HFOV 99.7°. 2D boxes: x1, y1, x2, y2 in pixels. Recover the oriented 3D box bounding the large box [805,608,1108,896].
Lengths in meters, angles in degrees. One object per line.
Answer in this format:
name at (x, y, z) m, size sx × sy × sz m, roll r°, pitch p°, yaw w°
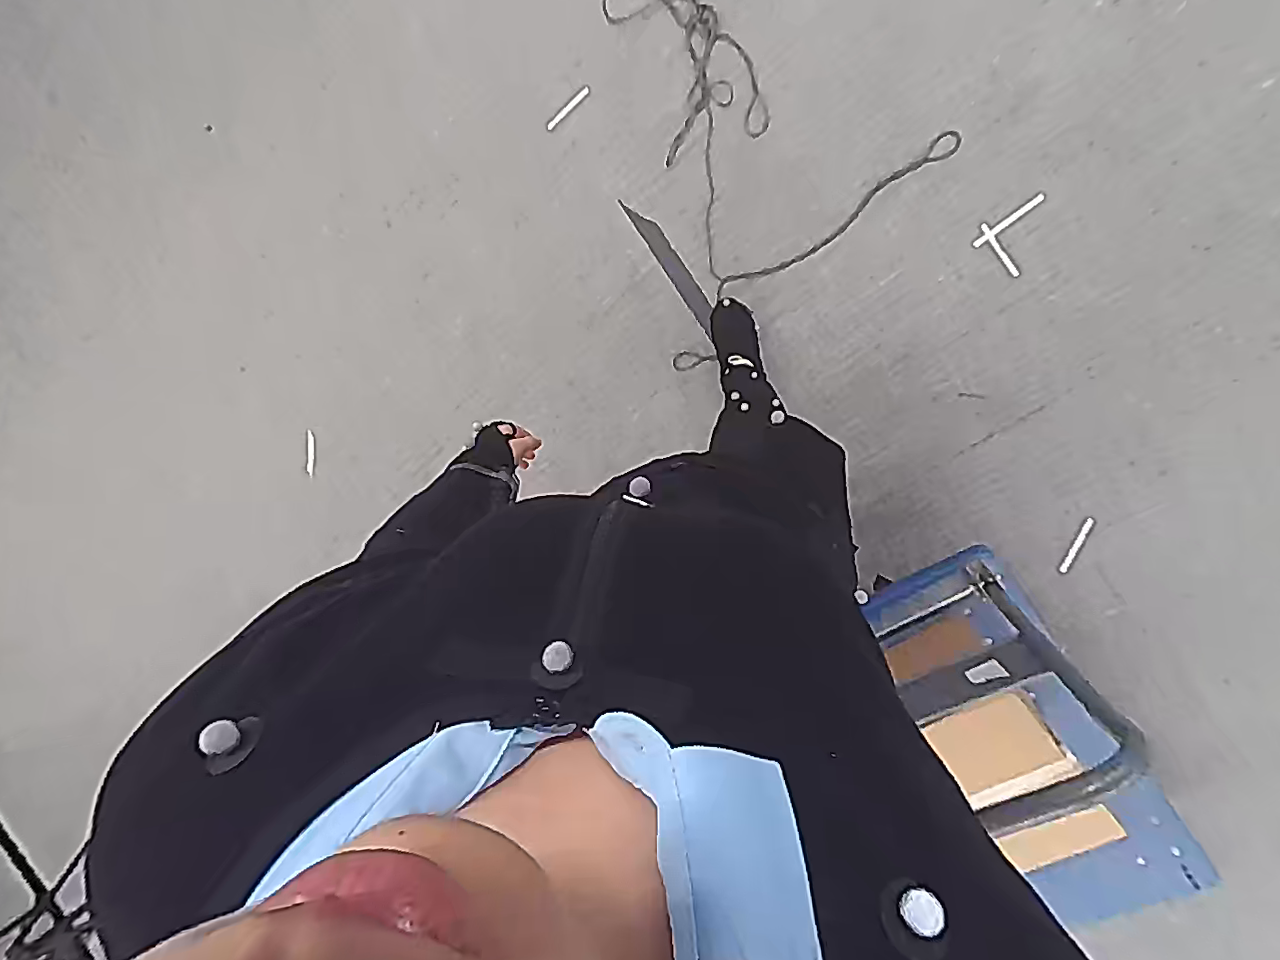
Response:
large box at (0.600, 0.541, 1.122) m, size 0.408 × 0.320 × 0.320 m, roll -39°, pitch 88°, yaw 20°
